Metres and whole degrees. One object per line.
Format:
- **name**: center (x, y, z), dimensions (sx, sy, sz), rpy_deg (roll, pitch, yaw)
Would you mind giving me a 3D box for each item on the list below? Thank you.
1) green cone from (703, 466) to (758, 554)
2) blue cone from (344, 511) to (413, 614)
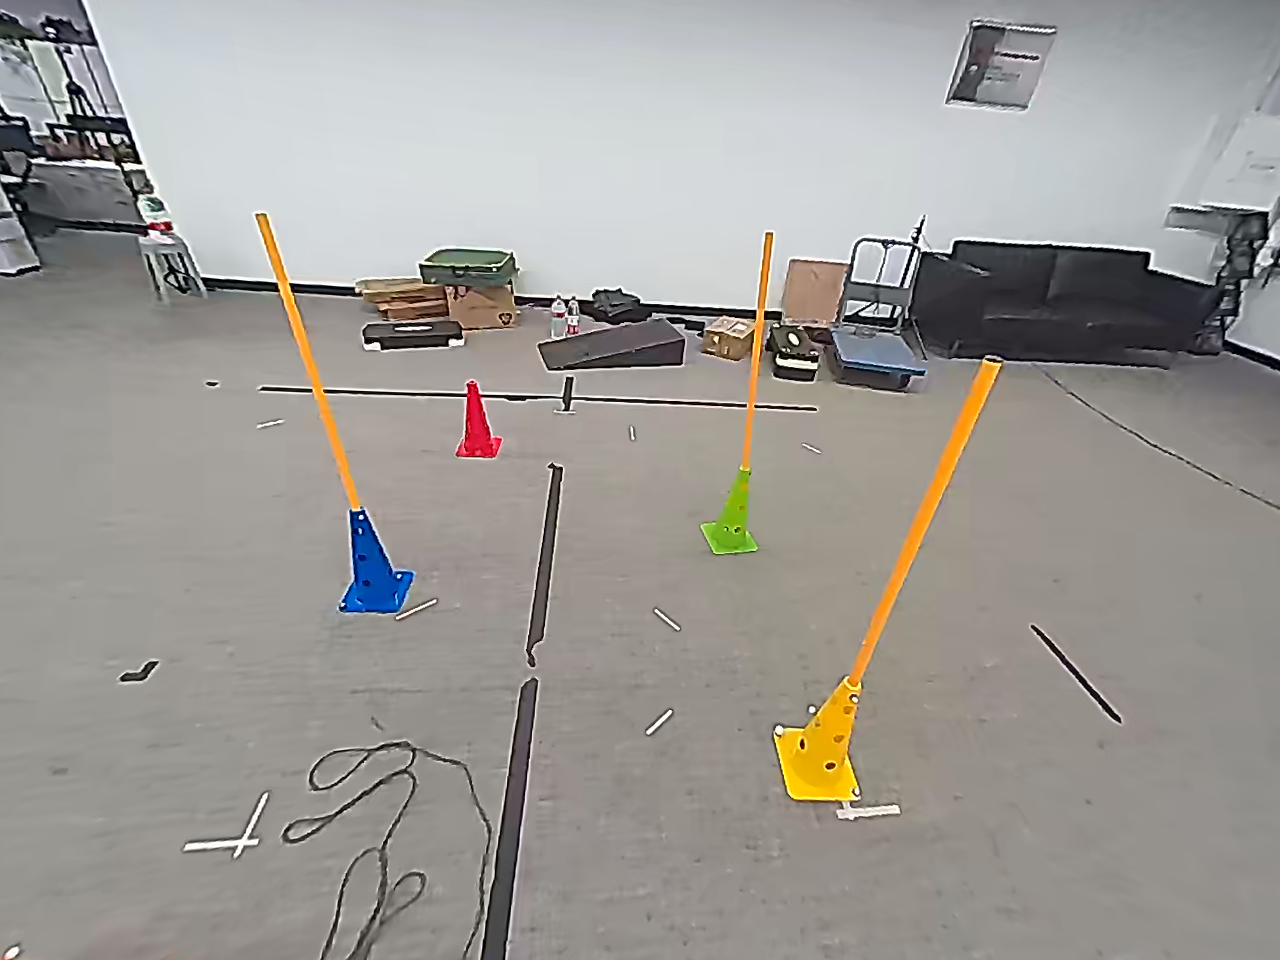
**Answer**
- **green cone**: center (0.396, 0.101, 2.206), dimensions (0.200, 0.368, 0.202), rpy_deg (-4, 36, -14)
- **blue cone**: center (-0.898, 0.257, 1.803), dimensions (0.193, 0.380, 0.192), rpy_deg (3, 33, -3)
